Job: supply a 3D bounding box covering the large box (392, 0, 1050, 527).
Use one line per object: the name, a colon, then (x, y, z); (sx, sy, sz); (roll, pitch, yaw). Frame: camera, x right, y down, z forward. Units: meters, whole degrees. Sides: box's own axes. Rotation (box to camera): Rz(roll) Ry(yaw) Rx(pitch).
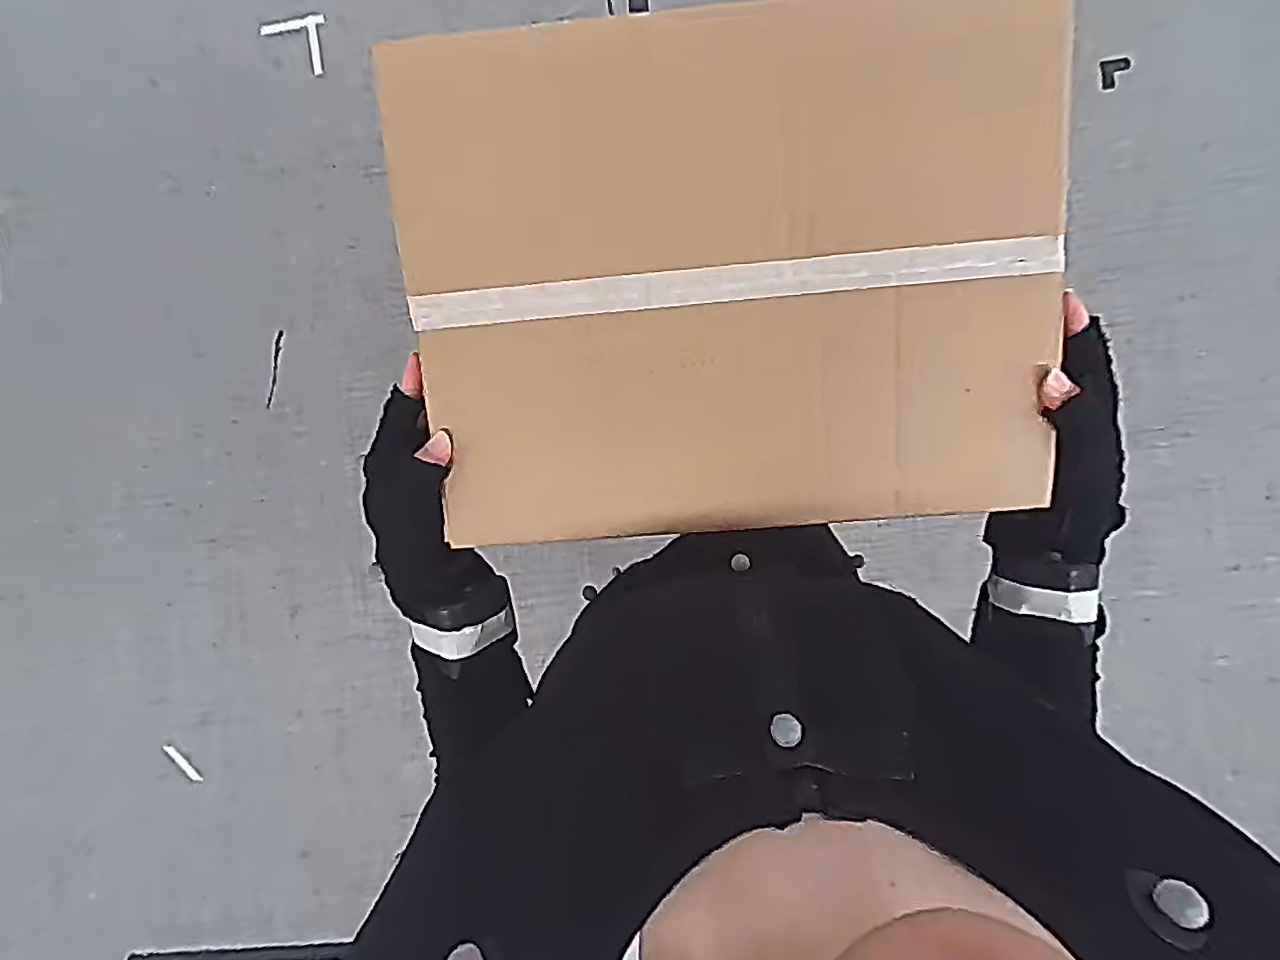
large box: (0.059, -0.159, 0.496); (0.408, 0.320, 0.320); (-4, 101, 2)
